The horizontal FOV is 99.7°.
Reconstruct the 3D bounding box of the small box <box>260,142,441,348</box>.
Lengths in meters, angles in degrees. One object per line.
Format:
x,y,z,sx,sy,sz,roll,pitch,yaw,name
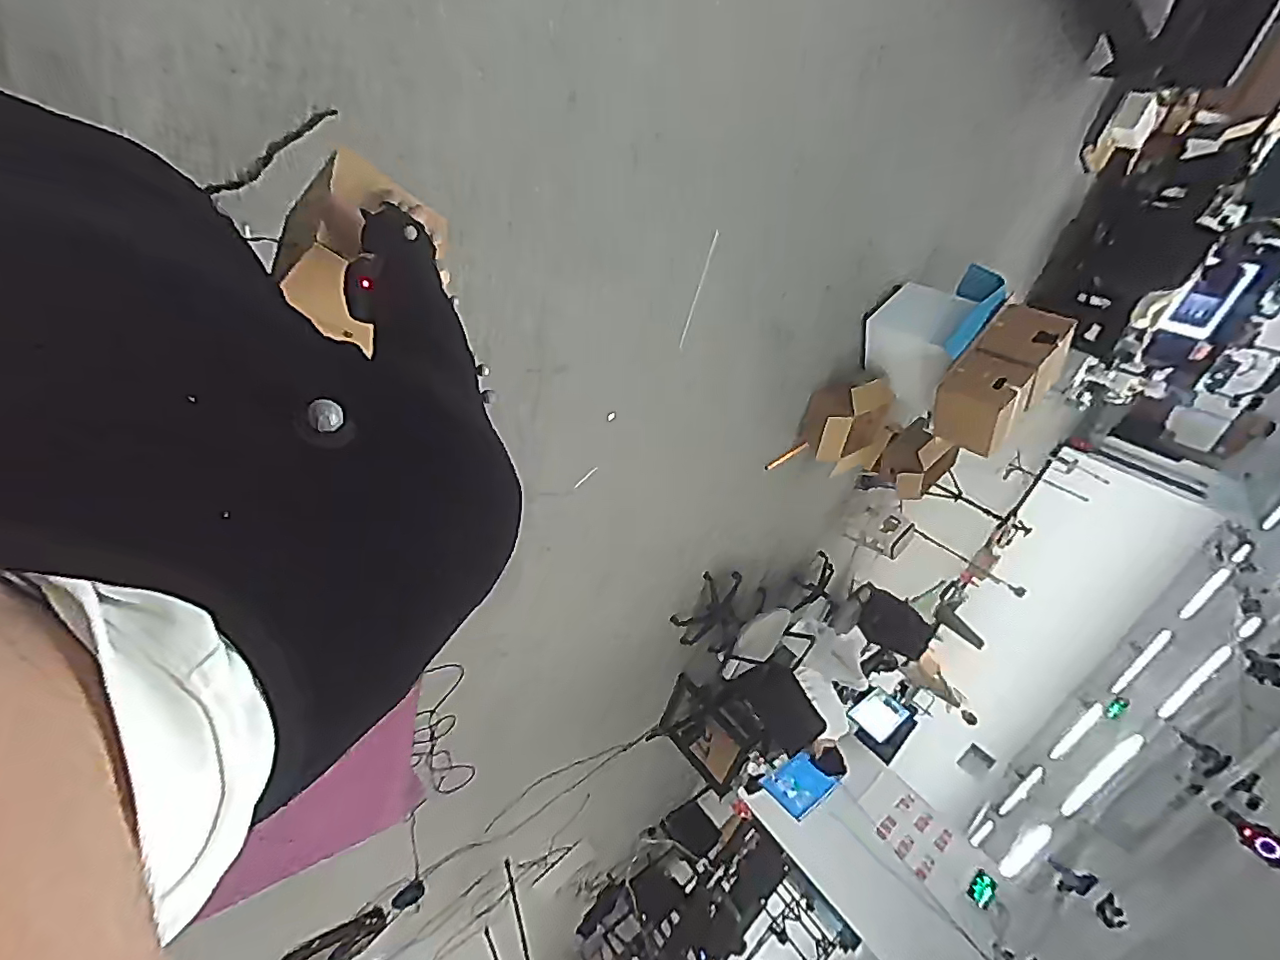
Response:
-0.413,-0.321,0.776,0.176,0.179,0.168,-21,151,33,small box
